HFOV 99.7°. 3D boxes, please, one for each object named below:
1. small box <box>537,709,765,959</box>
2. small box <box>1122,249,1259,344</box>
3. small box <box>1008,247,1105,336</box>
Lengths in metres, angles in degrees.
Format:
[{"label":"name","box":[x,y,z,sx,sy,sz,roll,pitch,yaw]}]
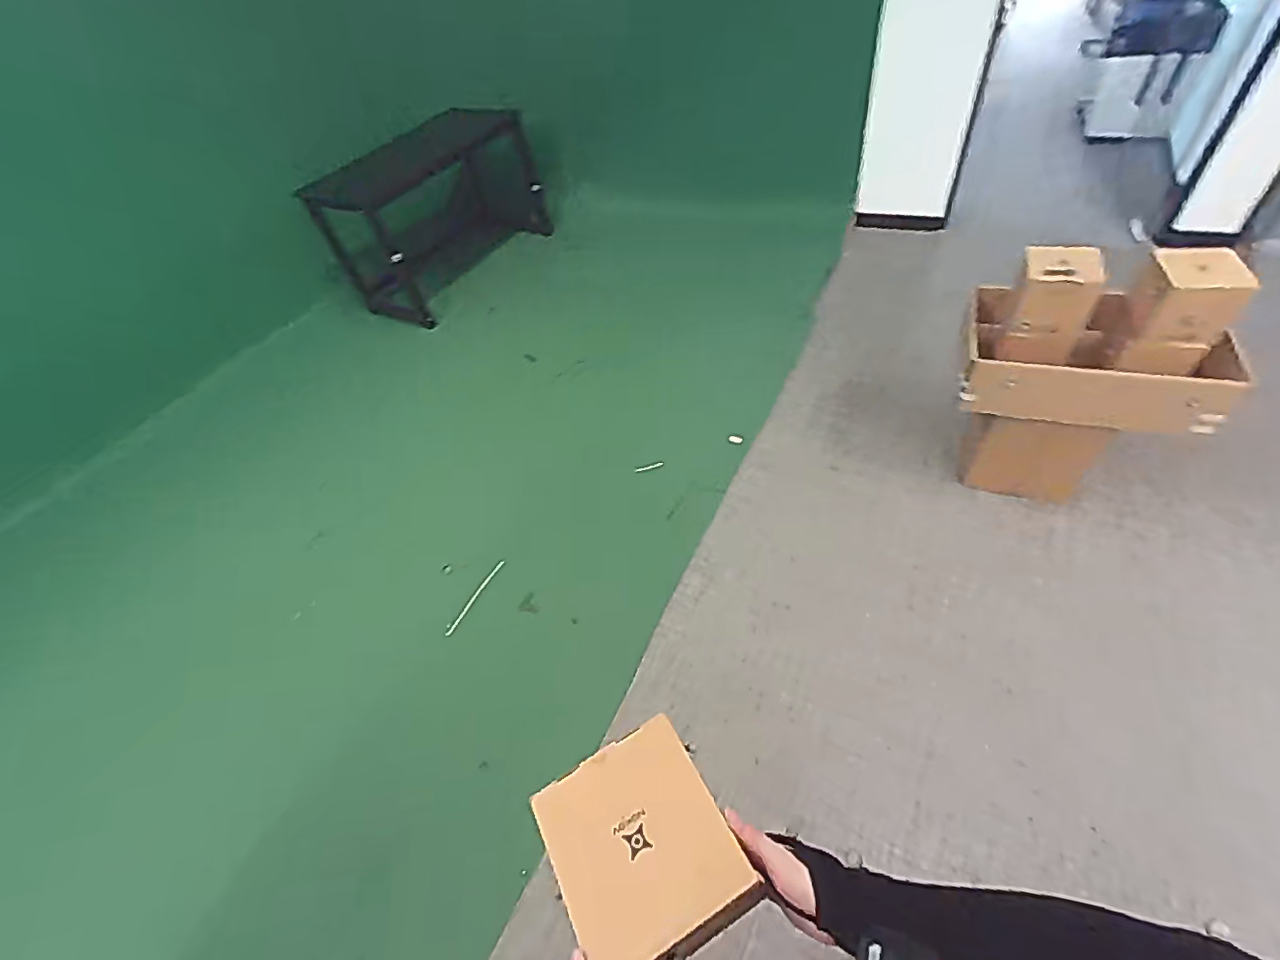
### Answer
[{"label":"small box","box":[0.018,0.384,0.567,0.168,0.176,0.179,-28,47,-11]},{"label":"small box","box":[1.386,-0.463,1.376,0.168,0.176,0.179,6,52,16]},{"label":"small box","box":[1.126,-0.512,1.474,0.168,0.176,0.179,12,52,22]}]
